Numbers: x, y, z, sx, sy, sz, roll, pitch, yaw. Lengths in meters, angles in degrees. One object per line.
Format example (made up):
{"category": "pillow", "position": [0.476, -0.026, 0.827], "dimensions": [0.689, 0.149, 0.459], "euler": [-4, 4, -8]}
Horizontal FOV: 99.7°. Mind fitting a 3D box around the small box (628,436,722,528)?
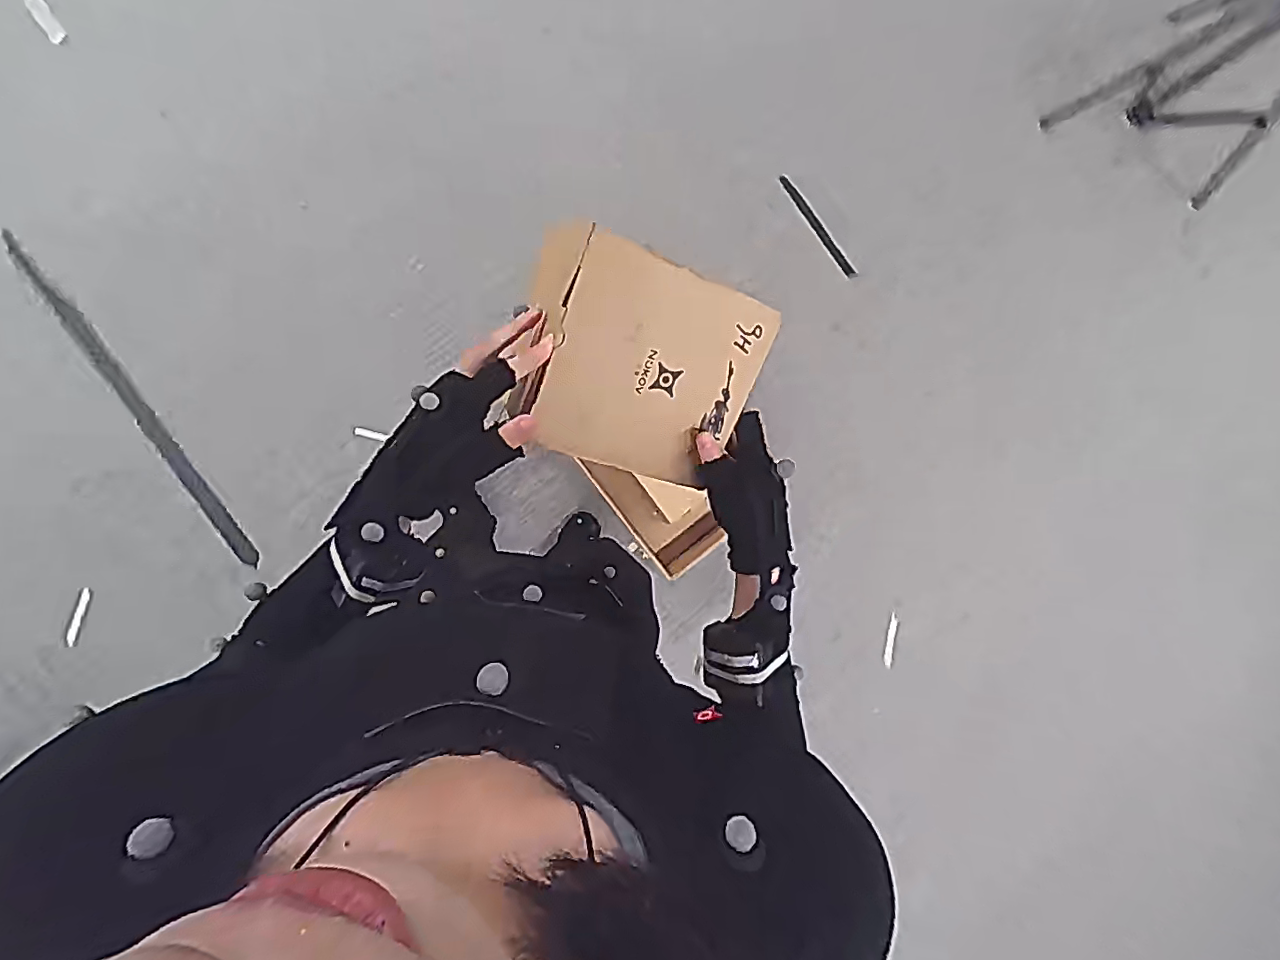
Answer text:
{"category": "small box", "position": [0.085, 0.006, 1.420], "dimensions": [0.168, 0.176, 0.179], "euler": [-38, 91, -7]}
